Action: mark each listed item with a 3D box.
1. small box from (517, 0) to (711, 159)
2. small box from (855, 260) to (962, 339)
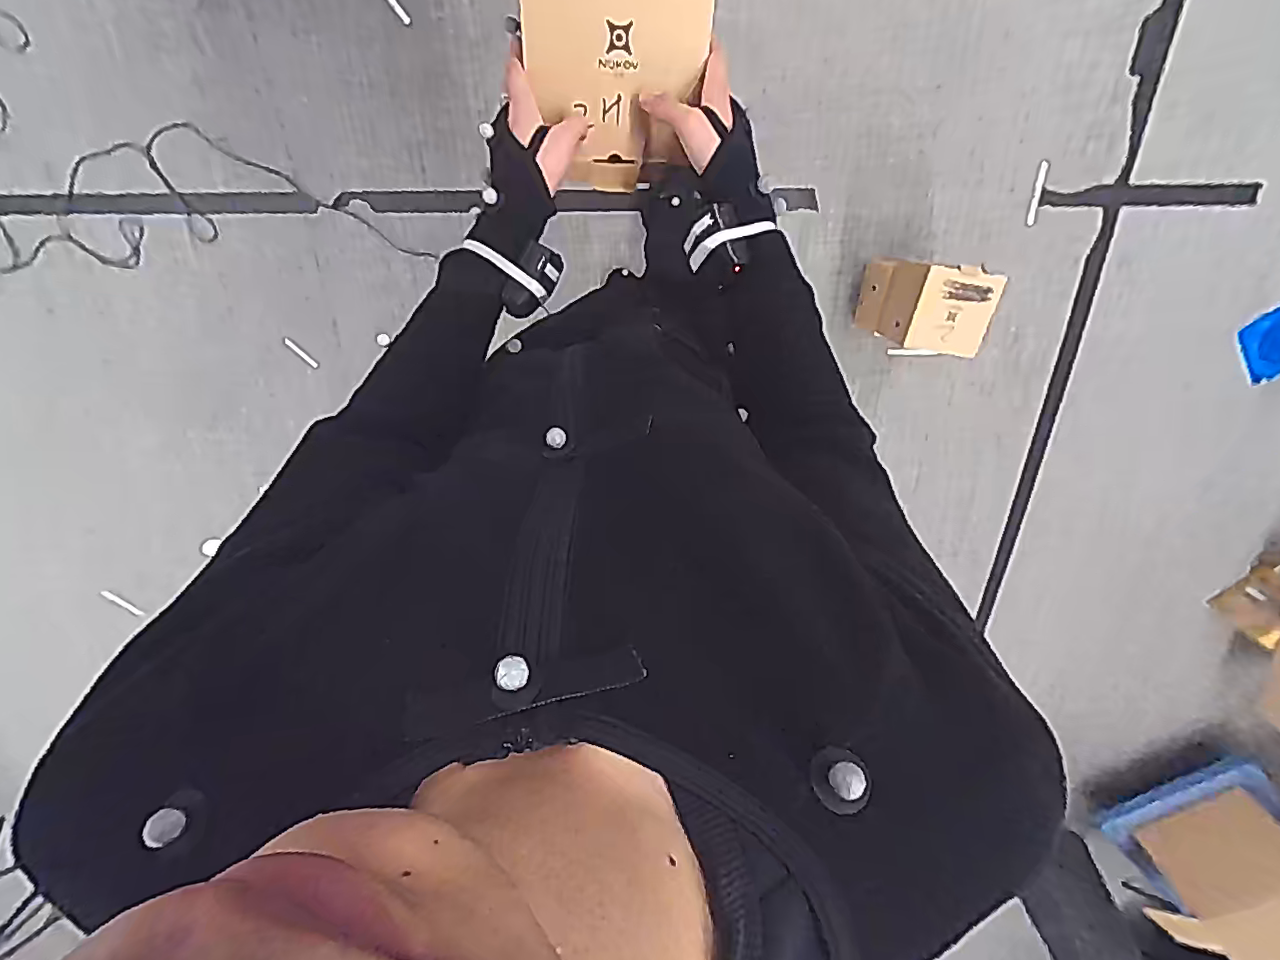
[{"bbox_3d":[-0.034,-0.433,0.527,0.168,0.176,0.179,-3,132,-8],"label":"small box"},{"bbox_3d":[0.669,-0.462,1.373,0.179,0.176,0.168,3,117,0],"label":"small box"}]
